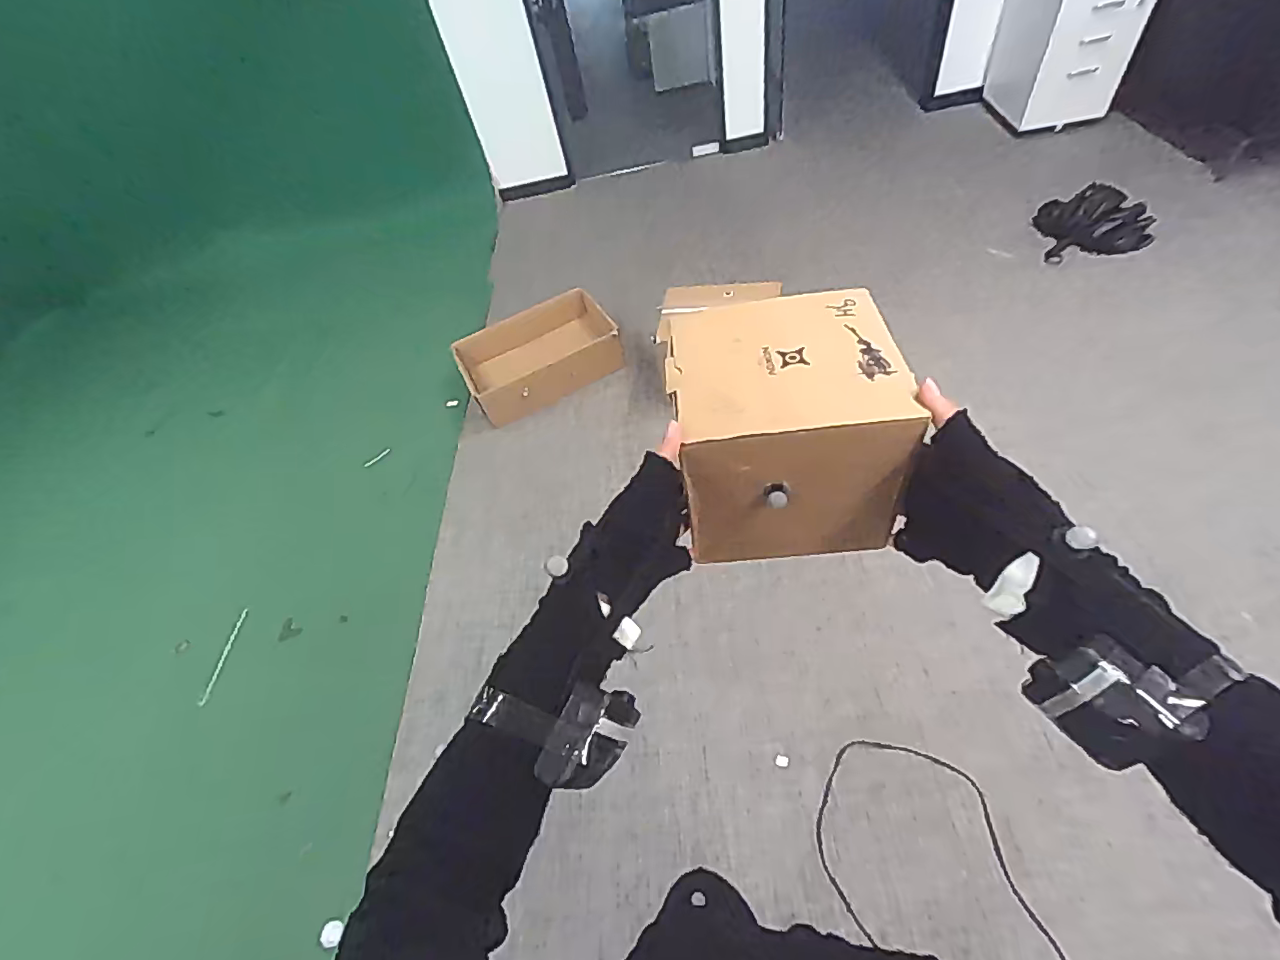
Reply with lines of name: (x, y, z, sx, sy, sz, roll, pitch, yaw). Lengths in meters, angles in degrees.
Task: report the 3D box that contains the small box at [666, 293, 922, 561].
small box: (0.124, -0.039, 0.490, 0.179, 0.176, 0.168, -7, 49, 7)
